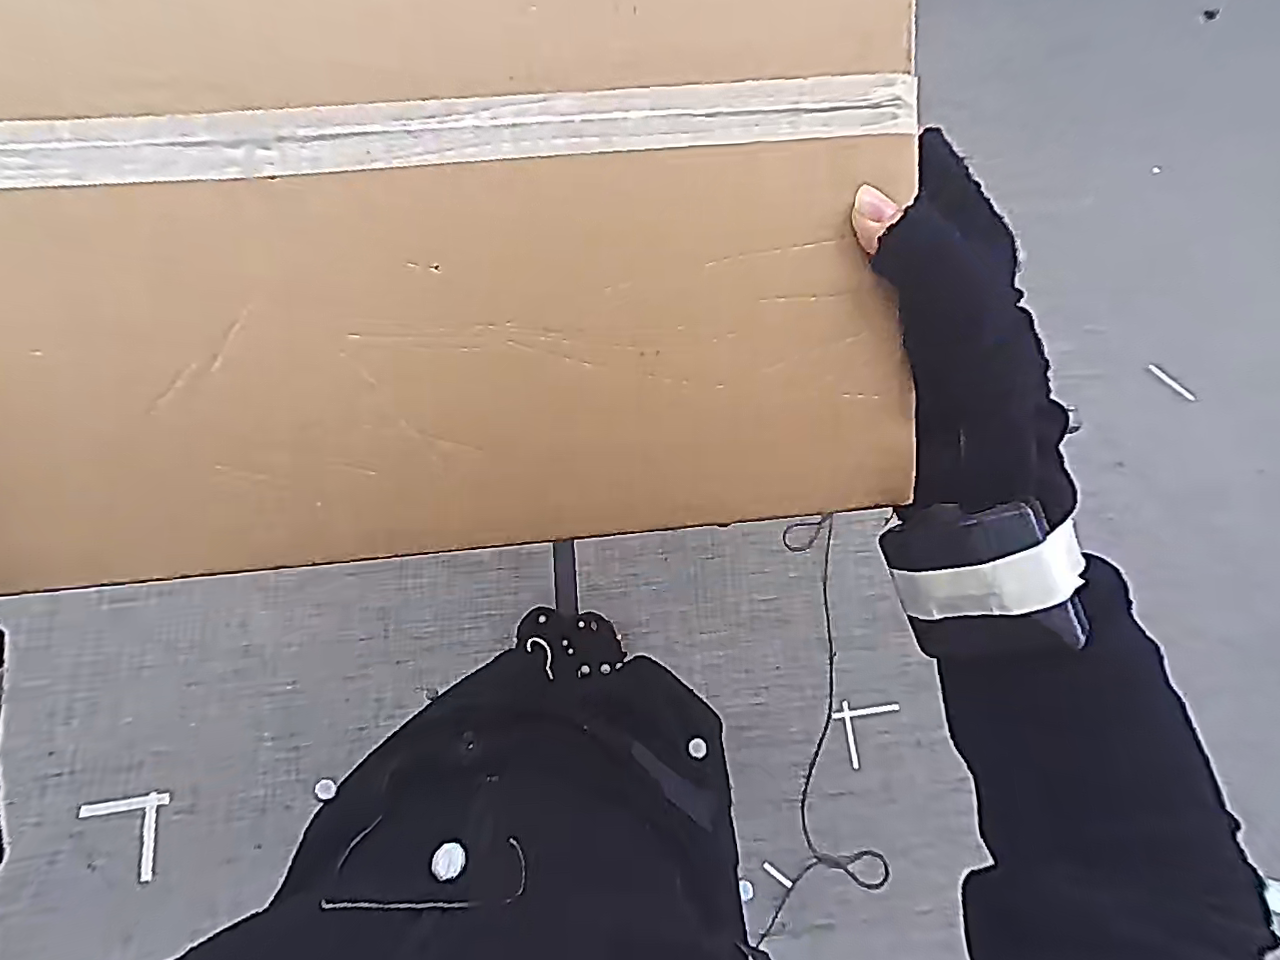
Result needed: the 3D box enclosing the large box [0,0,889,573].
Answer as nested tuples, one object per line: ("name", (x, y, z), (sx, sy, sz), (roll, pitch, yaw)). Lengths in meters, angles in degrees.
("large box", (-0.106, -0.154, 0.356), (0.408, 0.320, 0.320), (-4, 100, -4))
